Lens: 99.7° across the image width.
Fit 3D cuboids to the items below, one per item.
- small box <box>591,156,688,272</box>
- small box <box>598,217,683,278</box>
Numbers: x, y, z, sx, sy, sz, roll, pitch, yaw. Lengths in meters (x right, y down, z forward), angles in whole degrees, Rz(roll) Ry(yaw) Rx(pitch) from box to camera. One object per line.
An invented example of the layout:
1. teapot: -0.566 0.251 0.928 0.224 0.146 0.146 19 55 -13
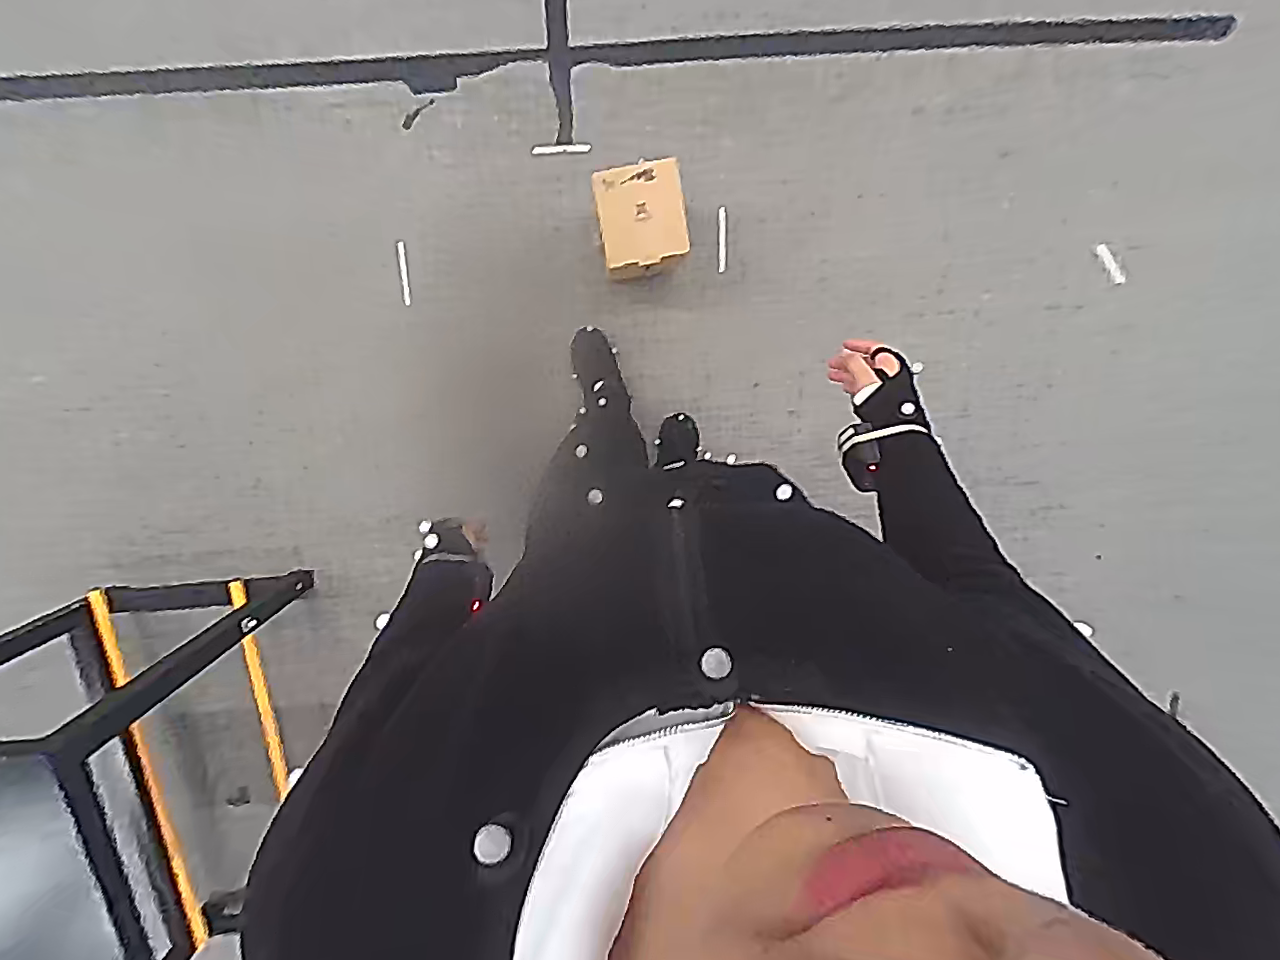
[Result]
1. small box: 0.000 -0.534 1.115 0.168 0.176 0.179 -10 105 0
2. small box: -0.004 -0.582 1.272 0.179 0.176 0.168 -9 104 0
